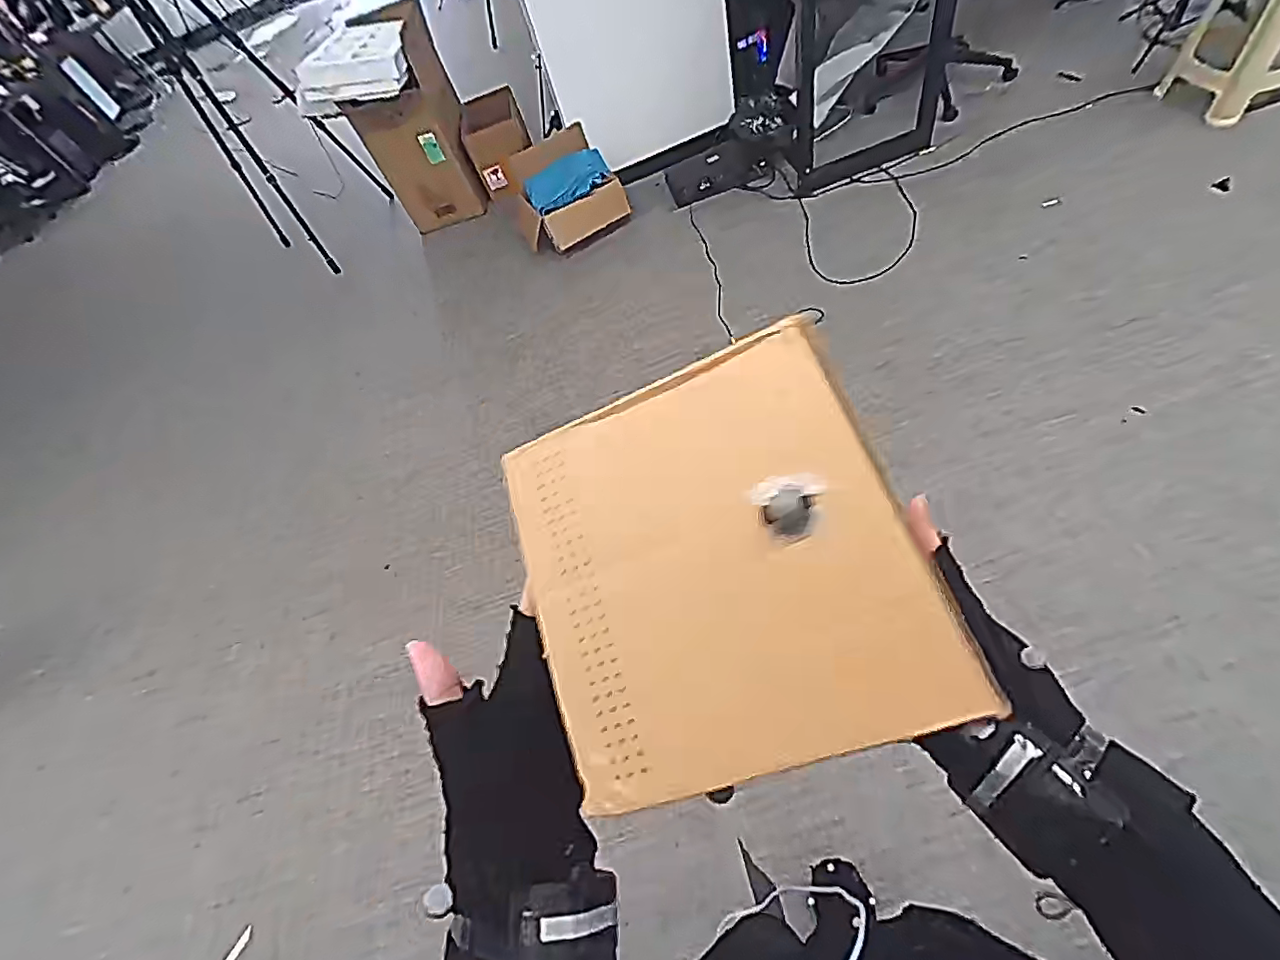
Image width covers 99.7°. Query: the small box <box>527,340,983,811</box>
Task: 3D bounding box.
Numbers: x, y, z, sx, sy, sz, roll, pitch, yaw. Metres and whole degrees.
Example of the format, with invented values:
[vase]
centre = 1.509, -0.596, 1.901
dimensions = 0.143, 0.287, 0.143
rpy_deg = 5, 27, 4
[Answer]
[small box]
centre = 0.053, 0.059, 0.316
dimensions = 0.176, 0.168, 0.179
rpy_deg = -23, 69, 14
